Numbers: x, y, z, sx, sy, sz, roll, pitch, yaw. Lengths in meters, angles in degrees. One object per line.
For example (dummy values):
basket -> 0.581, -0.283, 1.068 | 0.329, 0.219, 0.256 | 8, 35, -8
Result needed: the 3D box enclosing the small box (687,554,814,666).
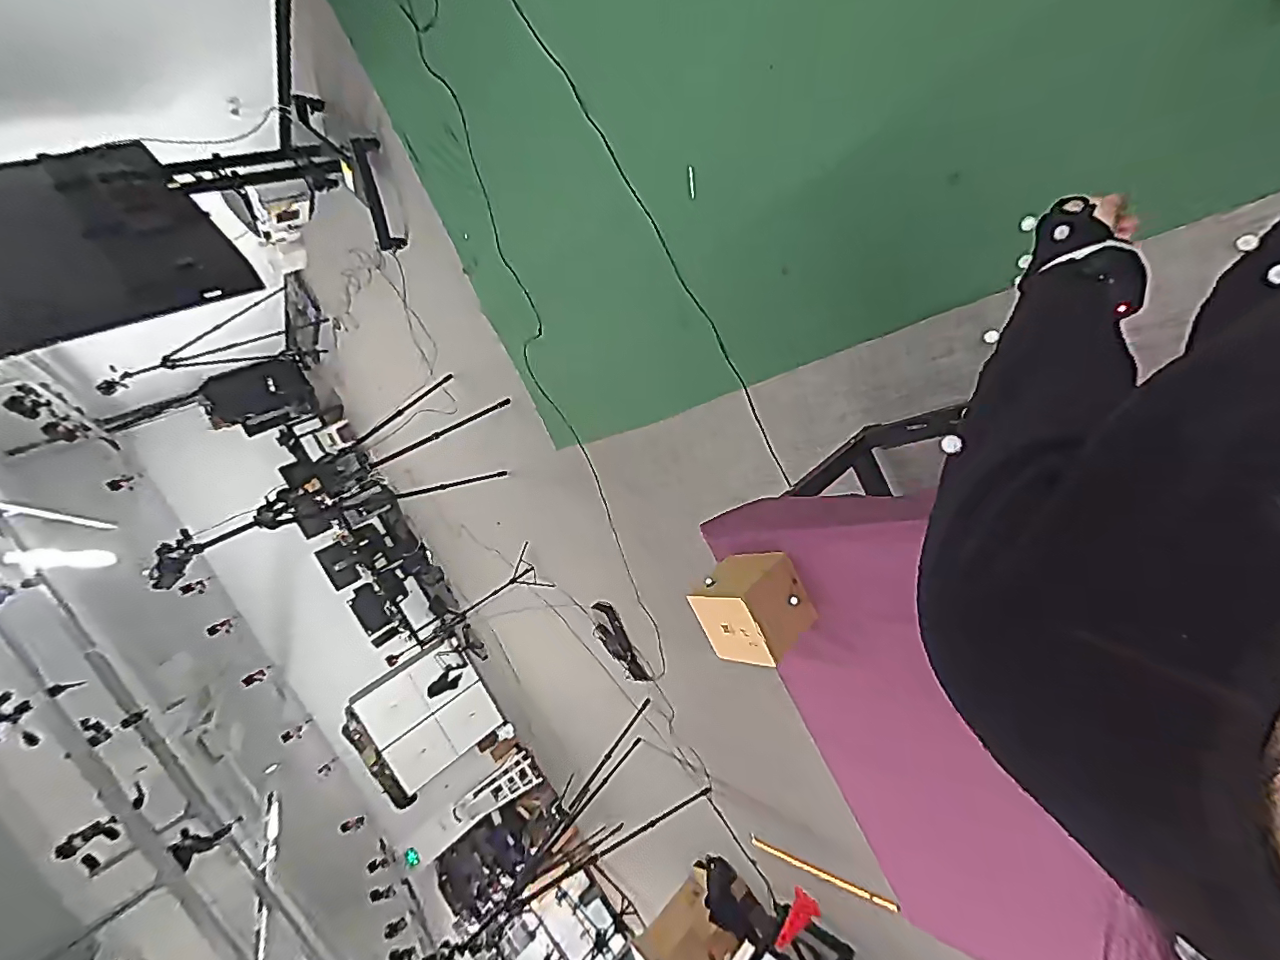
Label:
small box -> 0.240, 0.272, 1.171 | 0.179, 0.176, 0.168 | -14, 106, 53
